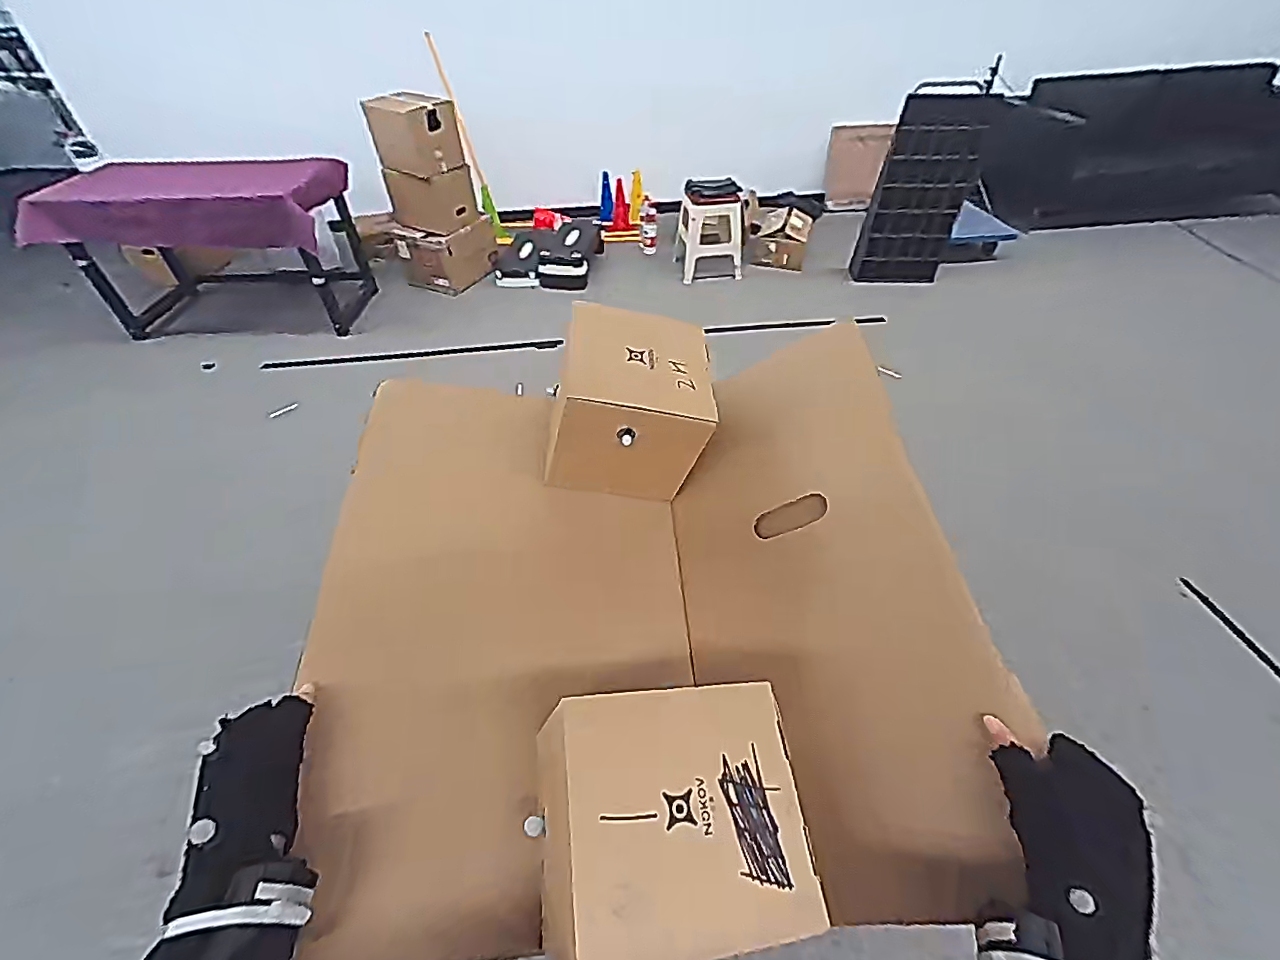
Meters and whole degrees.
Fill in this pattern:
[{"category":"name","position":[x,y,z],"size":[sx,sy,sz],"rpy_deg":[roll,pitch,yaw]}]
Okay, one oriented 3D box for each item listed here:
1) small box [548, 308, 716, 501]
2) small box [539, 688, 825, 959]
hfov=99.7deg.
[{"category":"small box","position":[-0.020,-0.089,0.698],"size":[0.179,0.176,0.168],"rpy_deg":[9,54,-14]},{"category":"small box","position":[0.015,0.280,0.449],"size":[0.179,0.176,0.168],"rpy_deg":[2,56,-16]}]
